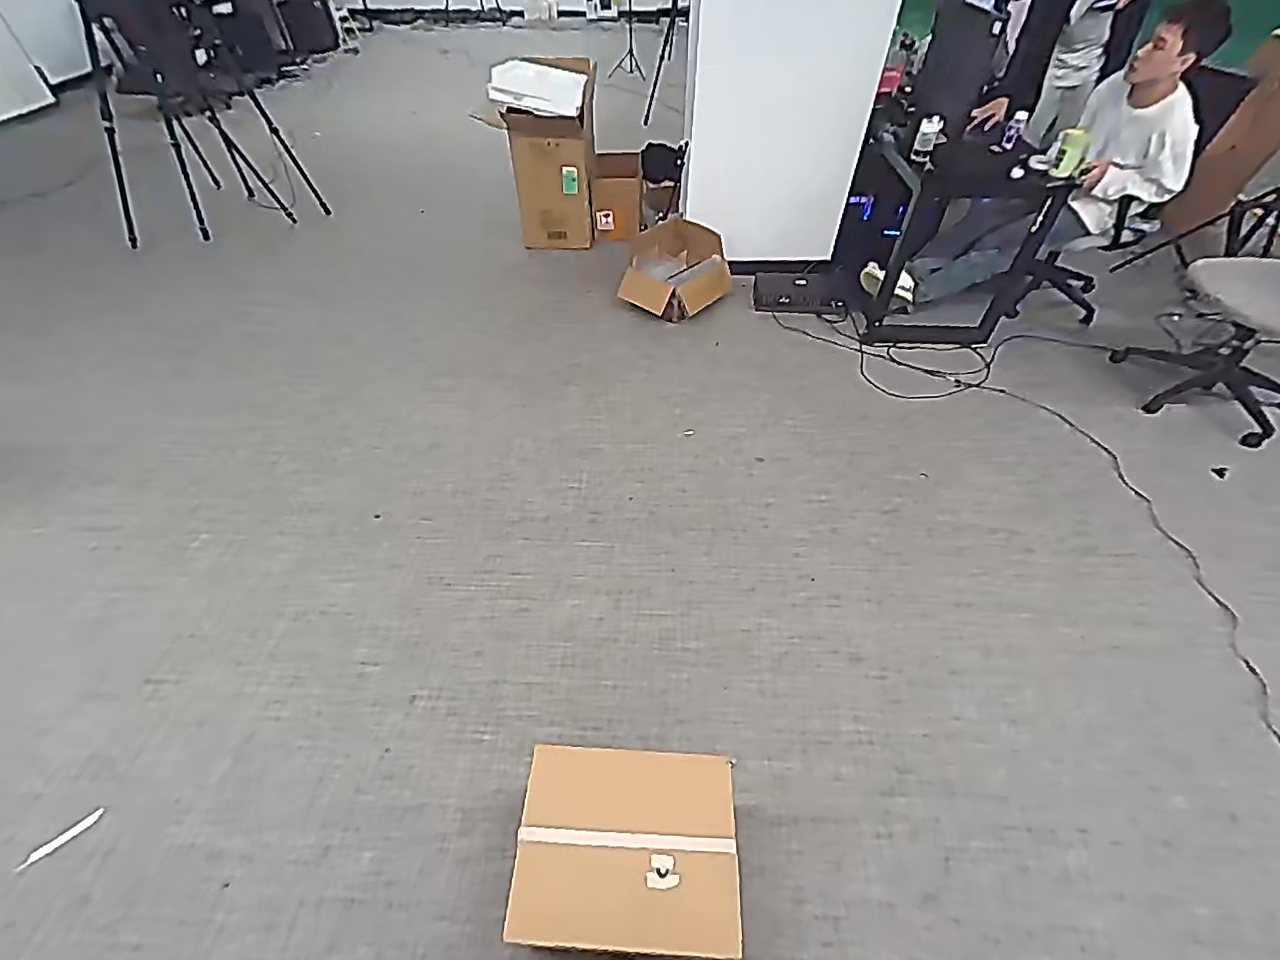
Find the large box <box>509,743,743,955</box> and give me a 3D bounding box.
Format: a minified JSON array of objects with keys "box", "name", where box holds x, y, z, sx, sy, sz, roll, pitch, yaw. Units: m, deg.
[{"box":[-0.023,0.763,1.114,0.408,0.320,0.320,3,48,1],"name":"large box"}]
